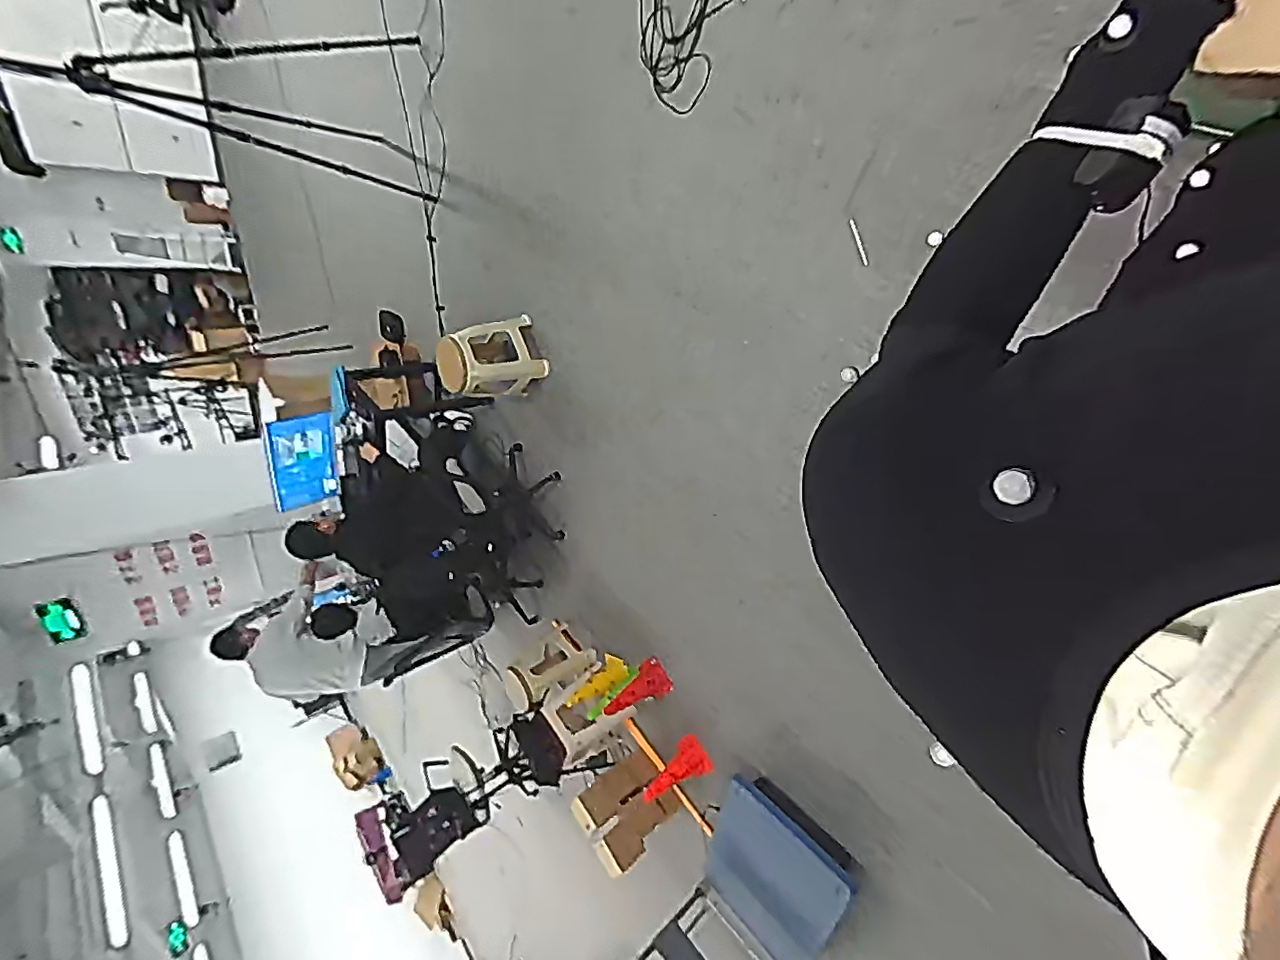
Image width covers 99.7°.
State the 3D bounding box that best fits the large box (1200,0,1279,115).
[{"bbox_3d":[0.655,-0.398,0.294,0.408,0.320,0.320,29,131,36],"label":"large box"}]
